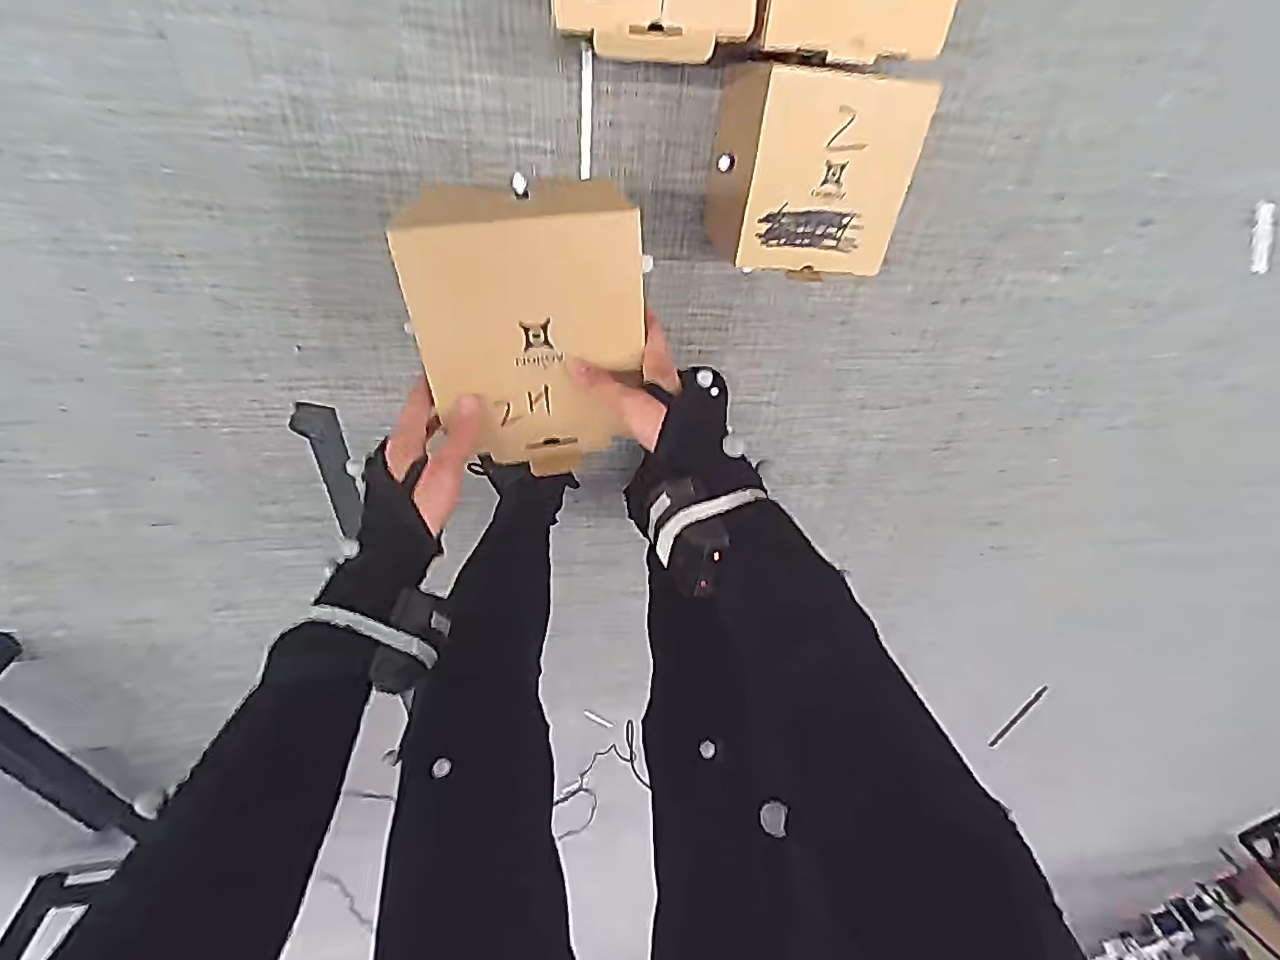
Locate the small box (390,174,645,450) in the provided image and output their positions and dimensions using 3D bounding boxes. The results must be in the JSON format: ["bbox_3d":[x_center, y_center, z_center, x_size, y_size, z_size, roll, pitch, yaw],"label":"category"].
[{"bbox_3d":[-0.094,-0.151,0.457,0.168,0.176,0.179,-8,129,-9],"label":"small box"}]
